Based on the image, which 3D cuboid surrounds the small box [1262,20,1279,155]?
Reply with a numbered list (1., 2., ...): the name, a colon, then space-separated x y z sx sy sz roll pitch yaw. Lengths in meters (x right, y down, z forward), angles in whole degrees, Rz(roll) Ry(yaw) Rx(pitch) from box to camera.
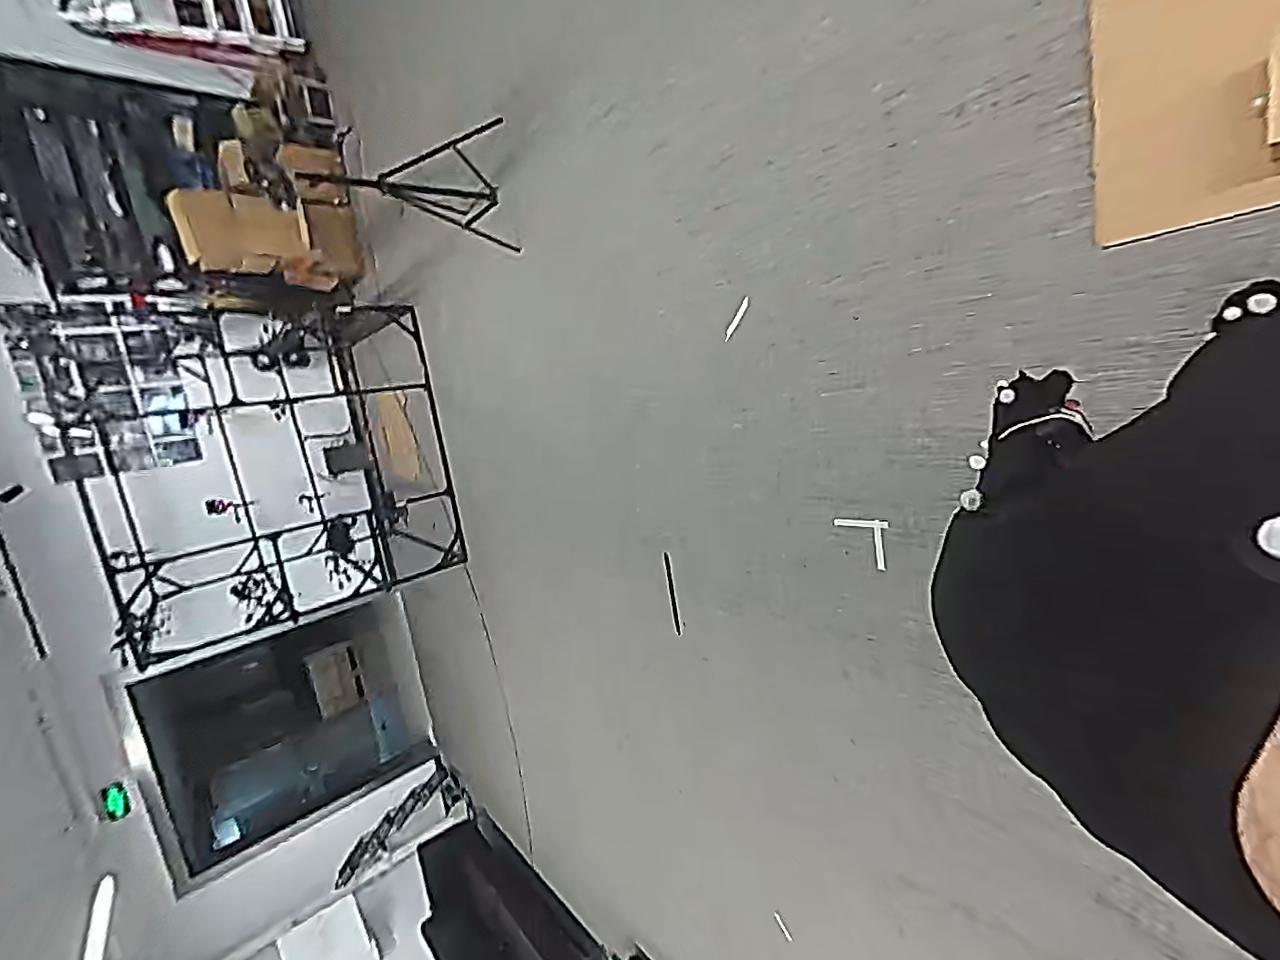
1. small box: 1.054 -0.610 0.797 0.179 0.176 0.168 1 104 50
